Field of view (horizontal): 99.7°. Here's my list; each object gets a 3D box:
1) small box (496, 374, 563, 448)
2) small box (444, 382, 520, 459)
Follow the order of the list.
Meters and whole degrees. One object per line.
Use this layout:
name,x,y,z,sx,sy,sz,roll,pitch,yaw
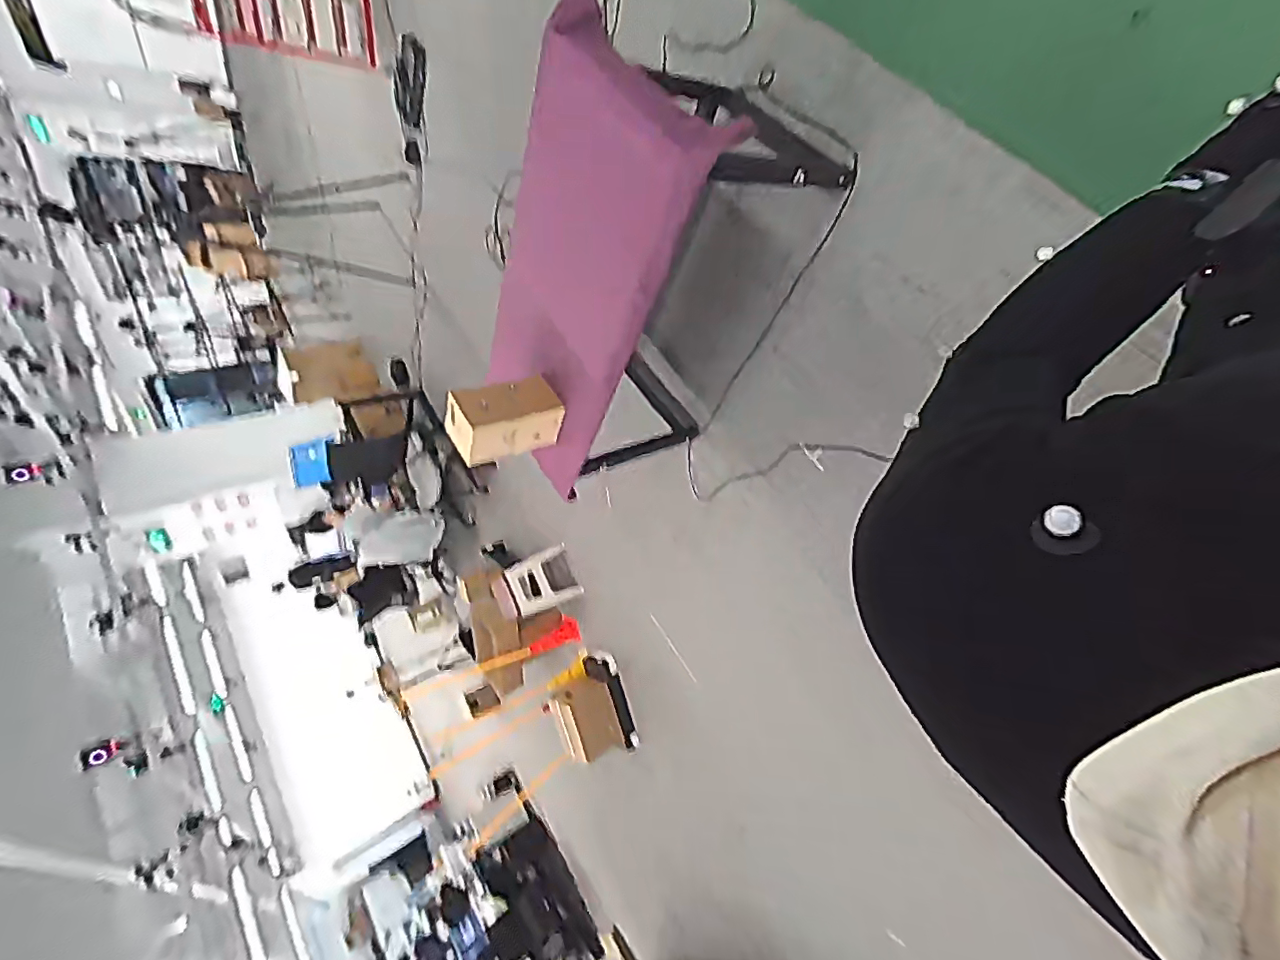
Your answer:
small box,-0.382,-0.240,1.831,0.179,0.176,0.168,53,141,23
small box,-0.508,-0.197,1.735,0.179,0.176,0.168,52,141,22
